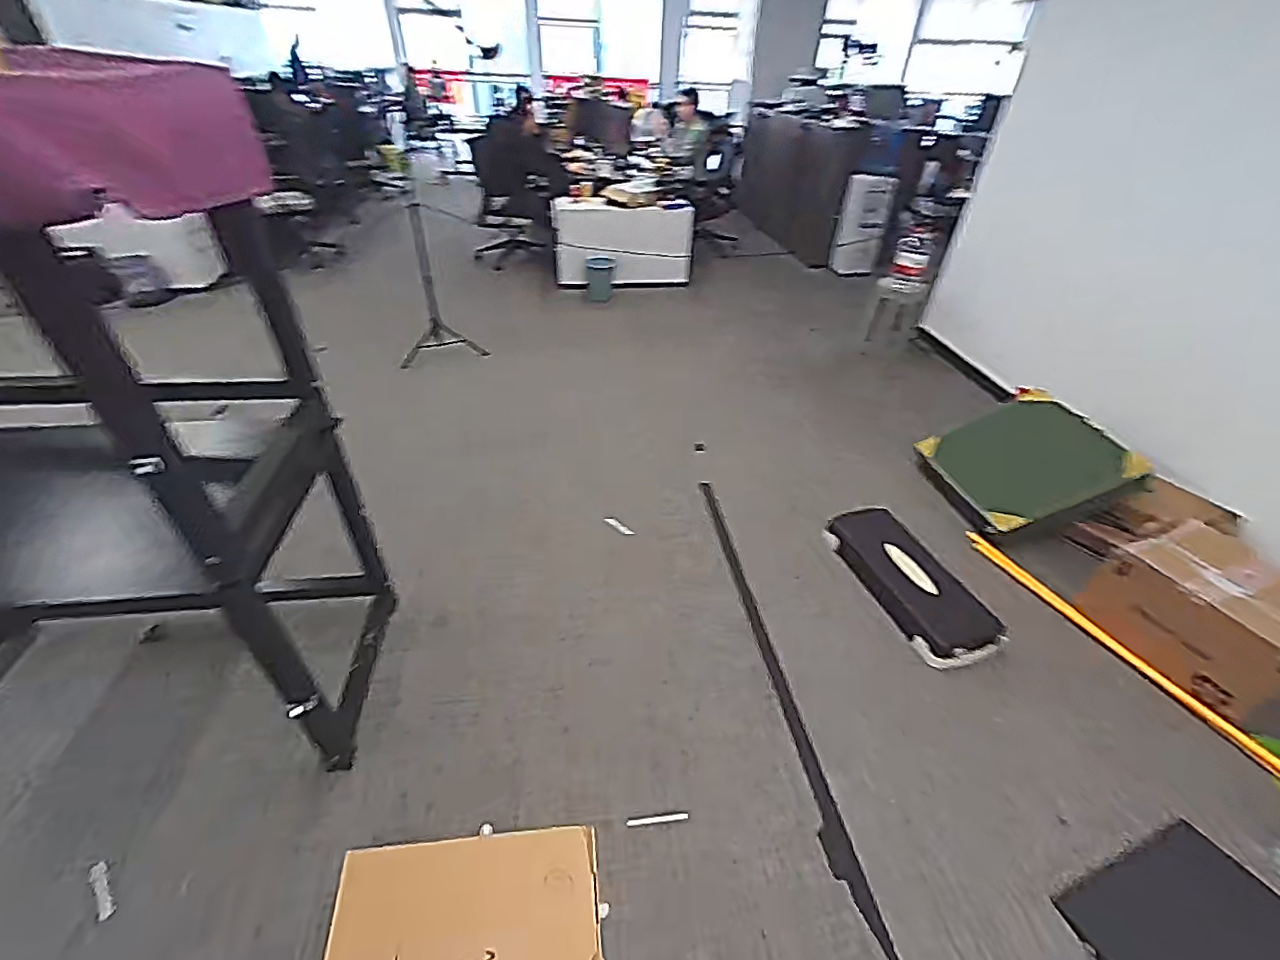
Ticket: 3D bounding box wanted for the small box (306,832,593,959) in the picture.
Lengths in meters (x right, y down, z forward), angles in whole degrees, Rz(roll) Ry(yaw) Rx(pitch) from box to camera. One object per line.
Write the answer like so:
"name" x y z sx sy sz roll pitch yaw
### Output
"small box" -0.126 0.367 0.381 0.179 0.176 0.168 1 46 -11
